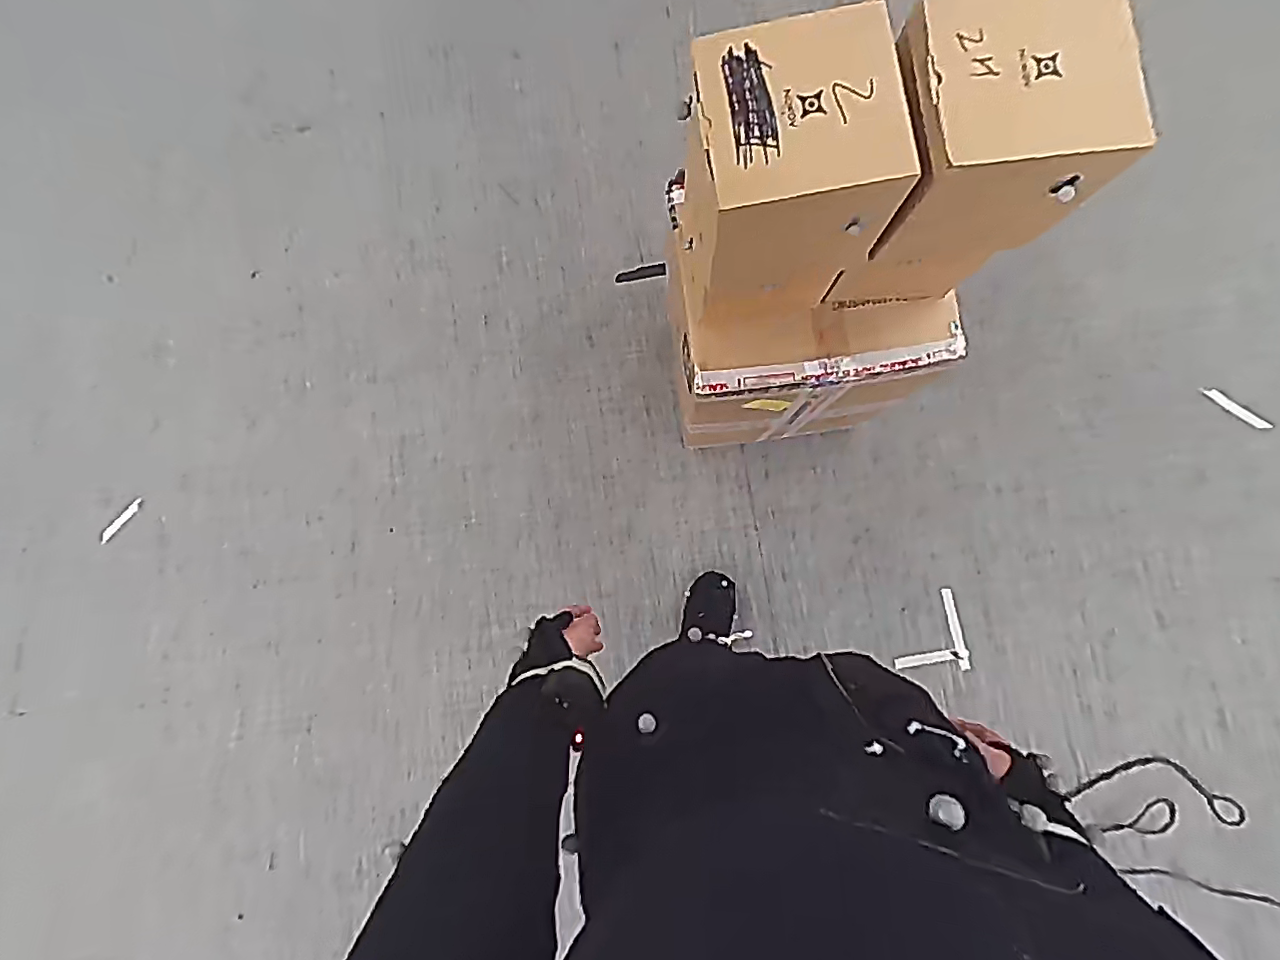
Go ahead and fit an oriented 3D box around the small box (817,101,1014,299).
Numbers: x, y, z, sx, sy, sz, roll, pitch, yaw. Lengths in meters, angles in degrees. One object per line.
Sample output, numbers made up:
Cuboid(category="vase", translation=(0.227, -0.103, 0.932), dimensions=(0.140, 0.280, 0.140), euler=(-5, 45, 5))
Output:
Cuboid(category="small box", translation=(0.339, -0.348, 0.703), dimensions=(0.179, 0.176, 0.168), euler=(-2, 85, 1))
